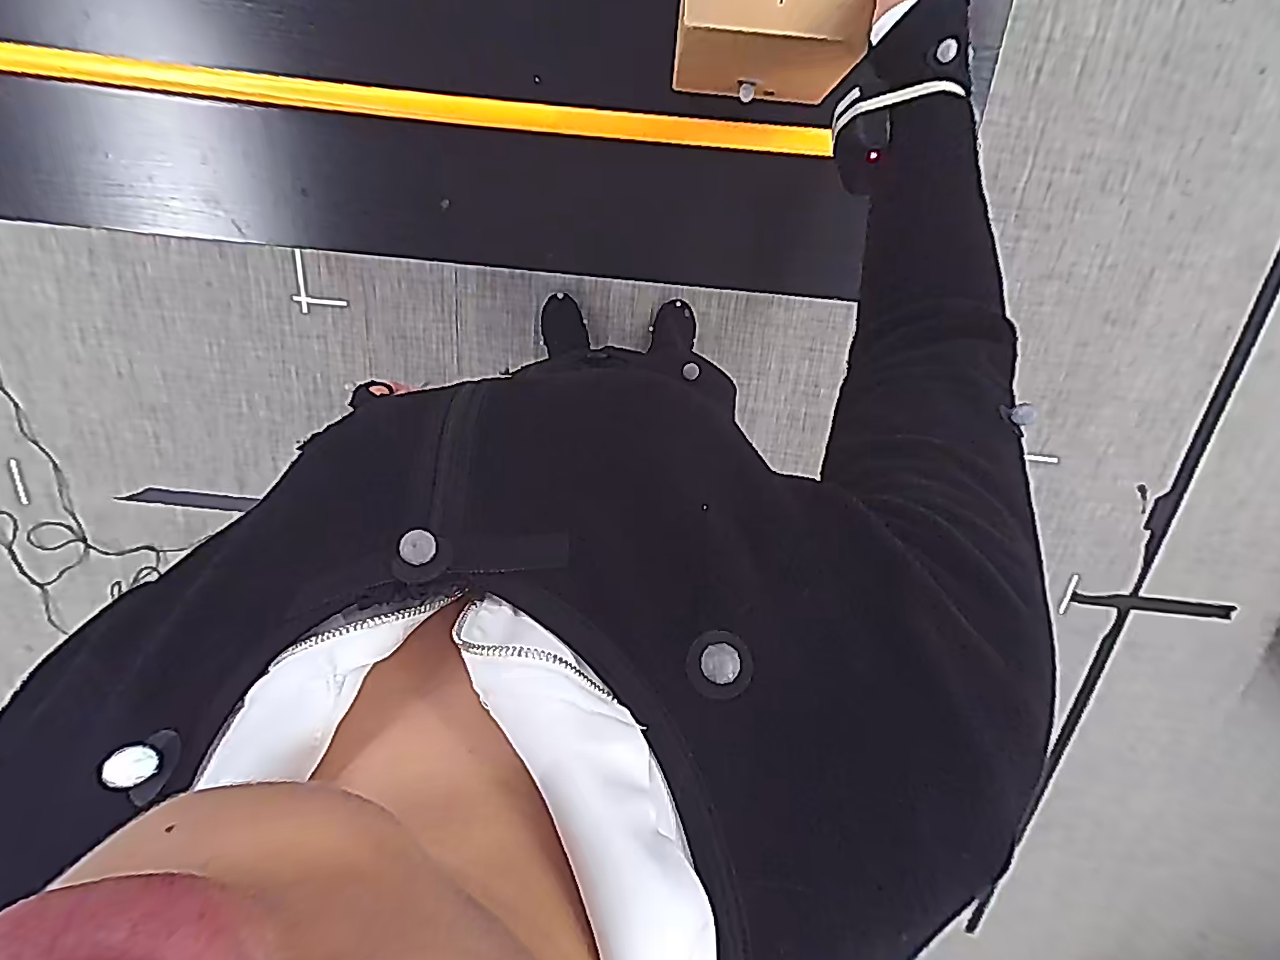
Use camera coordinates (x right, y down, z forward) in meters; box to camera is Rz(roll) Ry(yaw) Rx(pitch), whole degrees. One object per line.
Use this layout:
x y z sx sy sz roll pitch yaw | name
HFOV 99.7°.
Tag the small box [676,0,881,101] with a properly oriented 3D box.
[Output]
0.126 -0.488 0.503 0.168 0.176 0.179 5 111 -1 | small box
